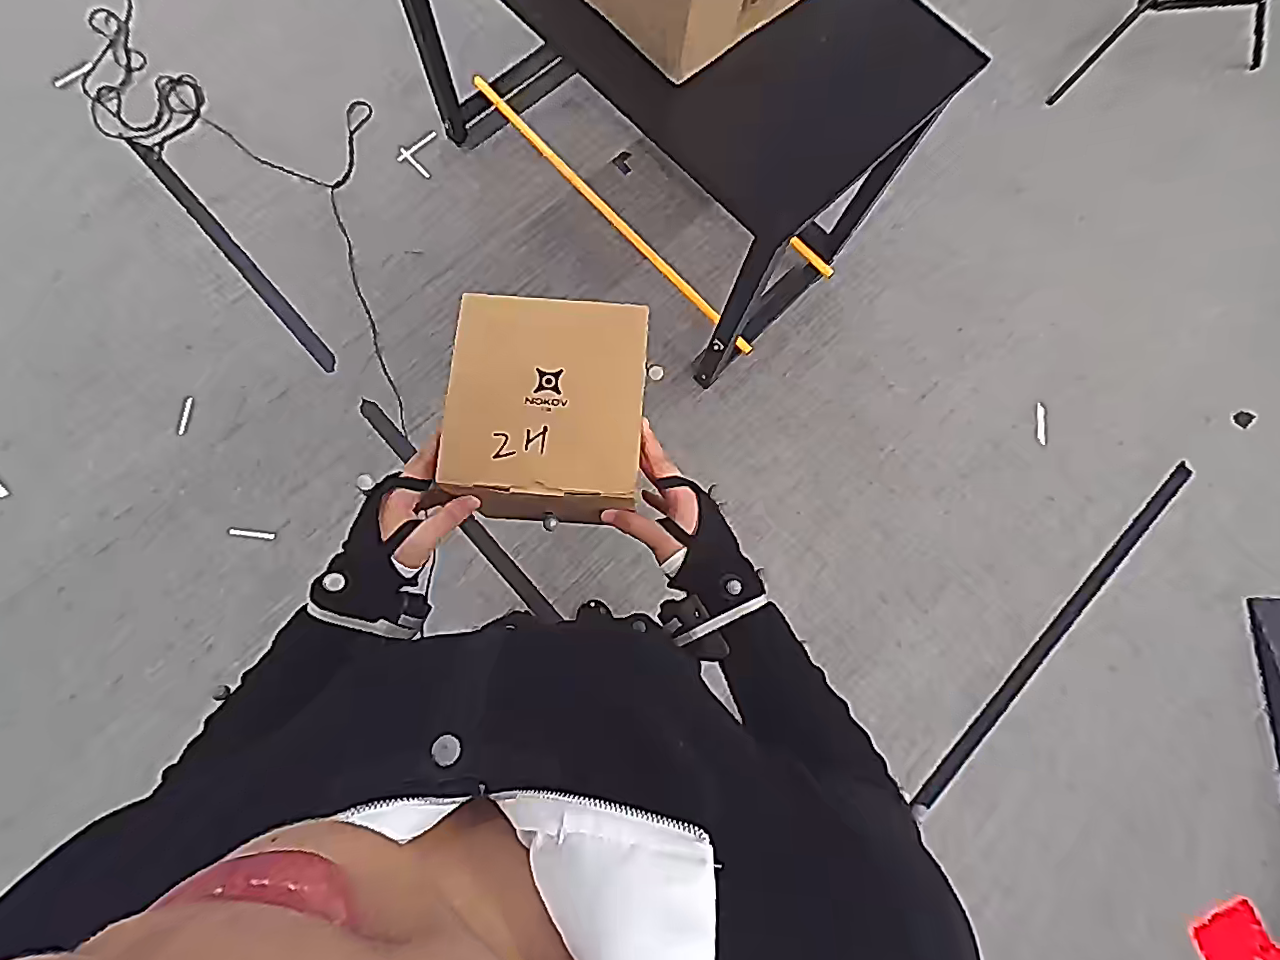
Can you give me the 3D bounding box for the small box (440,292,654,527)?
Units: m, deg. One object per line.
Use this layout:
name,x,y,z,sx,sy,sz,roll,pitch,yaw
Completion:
small box,-0.078,-0.058,0.533,0.168,0.176,0.179,3,76,-1
